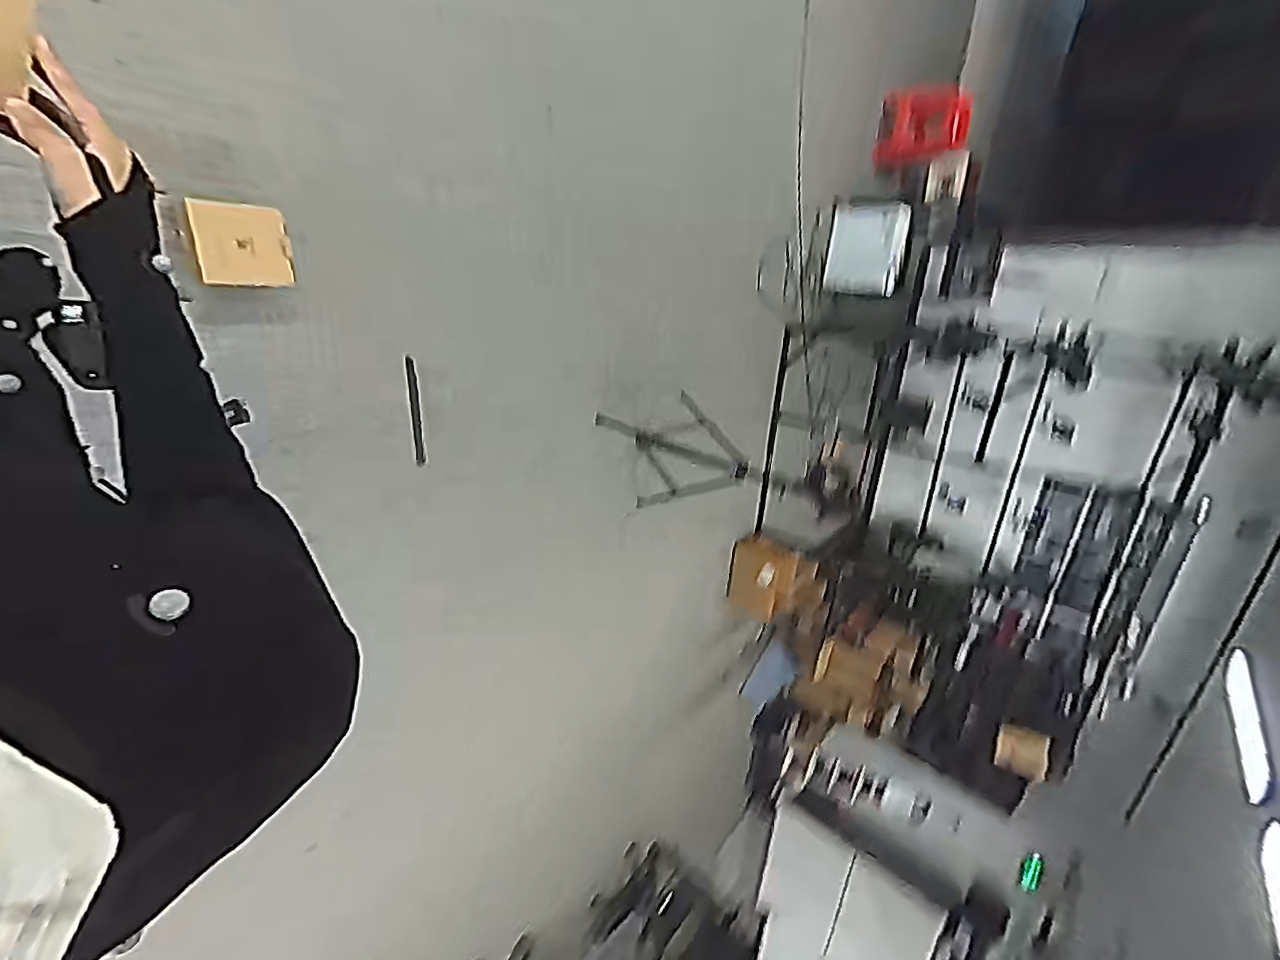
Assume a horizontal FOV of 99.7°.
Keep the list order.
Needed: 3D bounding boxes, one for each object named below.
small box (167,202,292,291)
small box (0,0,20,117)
[{"bbox_3d":[-0.923,-0.519,1.219,0.179,0.176,0.168,-19,118,-46],"label":"small box"},{"bbox_3d":[-0.572,-0.388,0.376,0.168,0.176,0.179,-1,111,-58],"label":"small box"}]
